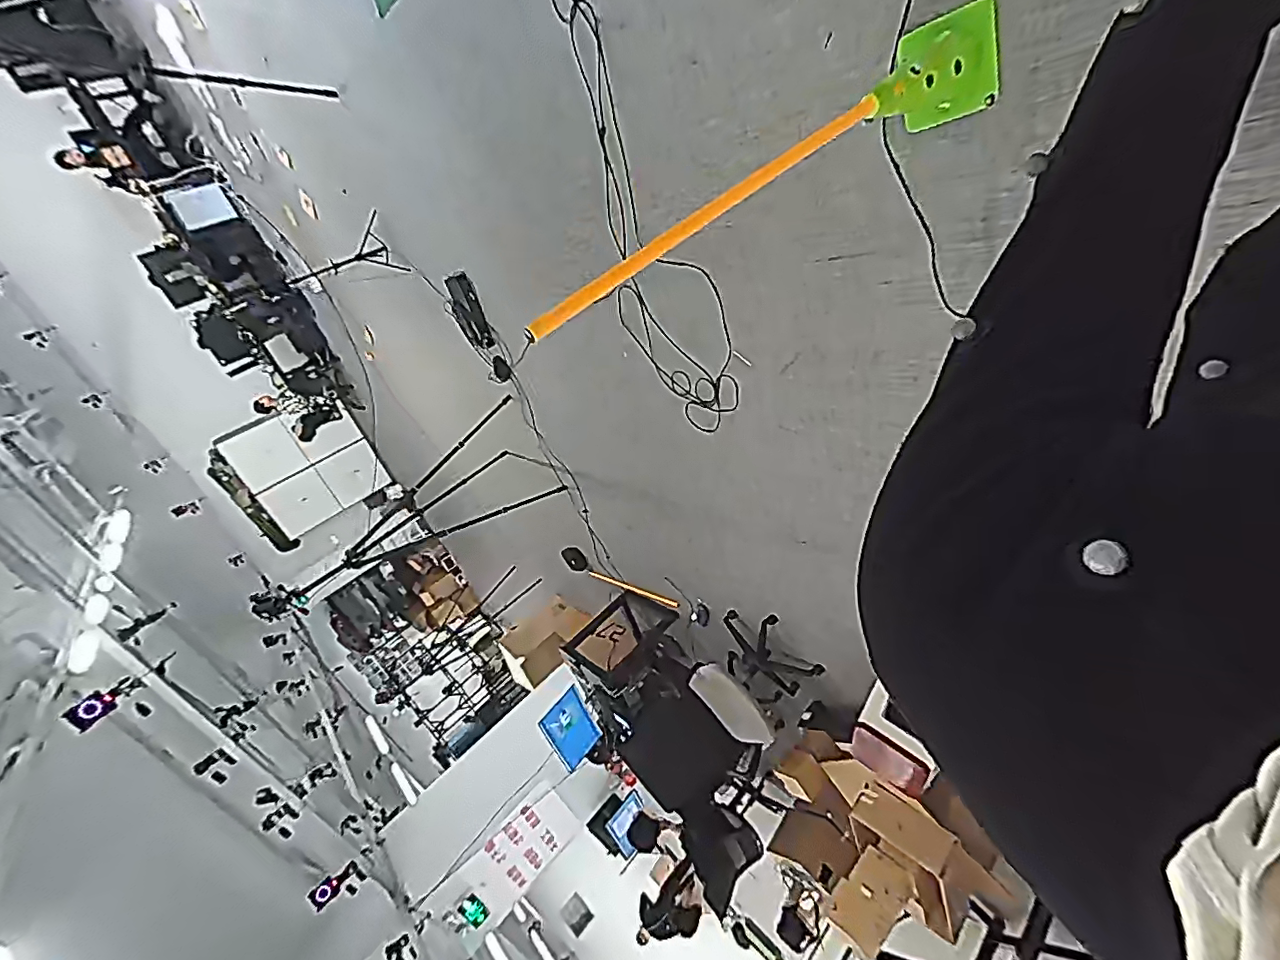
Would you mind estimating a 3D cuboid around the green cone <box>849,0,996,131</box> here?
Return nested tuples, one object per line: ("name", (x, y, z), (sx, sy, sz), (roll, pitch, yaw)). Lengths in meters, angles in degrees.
("green cone", (0.553, -0.822, 1.124), (0.202, 0.368, 0.200), (13, 133, 52))
